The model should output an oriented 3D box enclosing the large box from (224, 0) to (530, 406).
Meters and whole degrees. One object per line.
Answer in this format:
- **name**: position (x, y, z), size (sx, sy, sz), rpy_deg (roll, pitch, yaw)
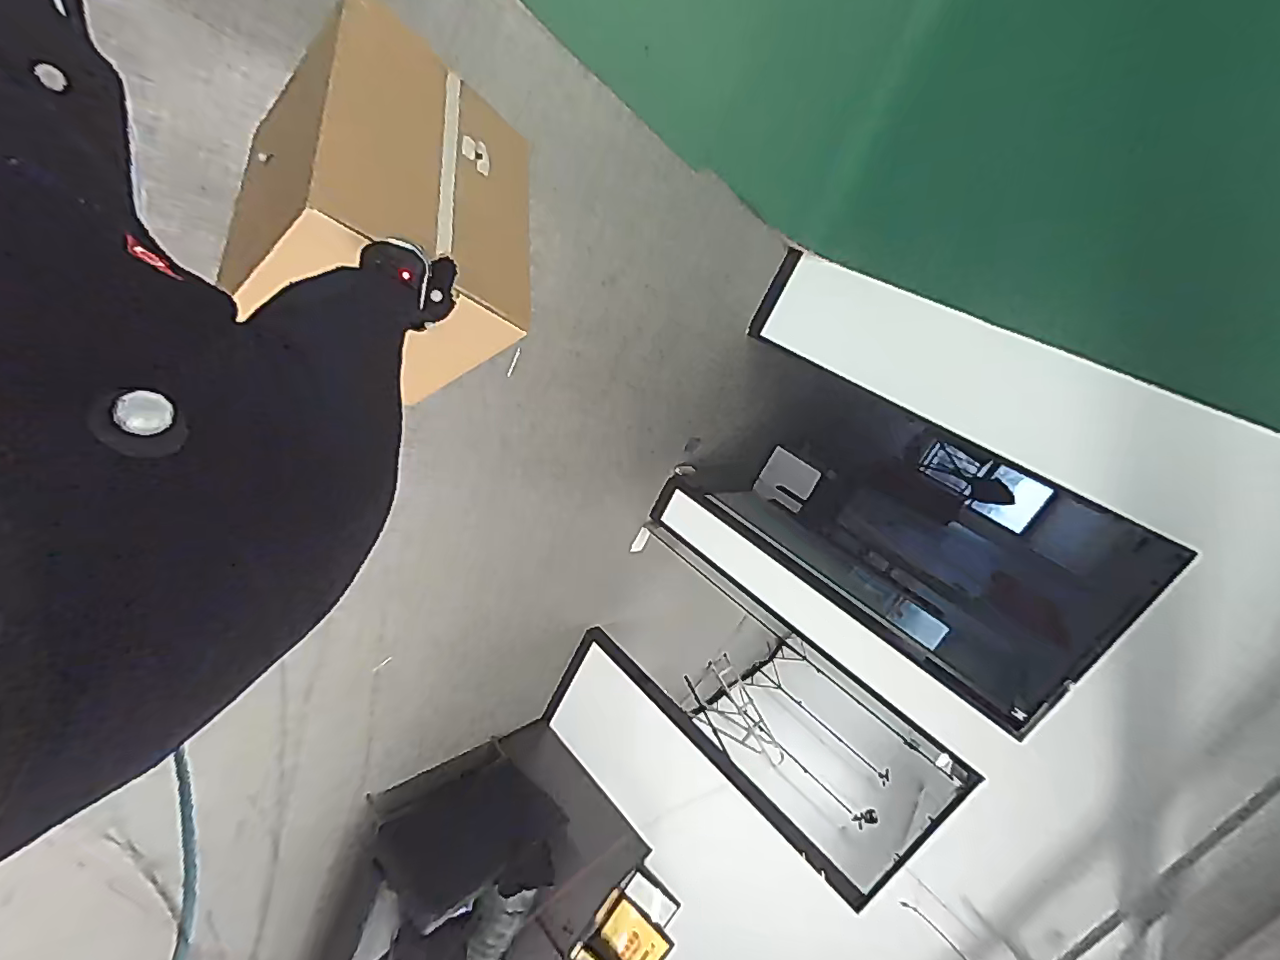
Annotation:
- **large box**: position (-0.398, -0.387, 0.853), size (0.320, 0.408, 0.320), rpy_deg (-21, 154, 32)
